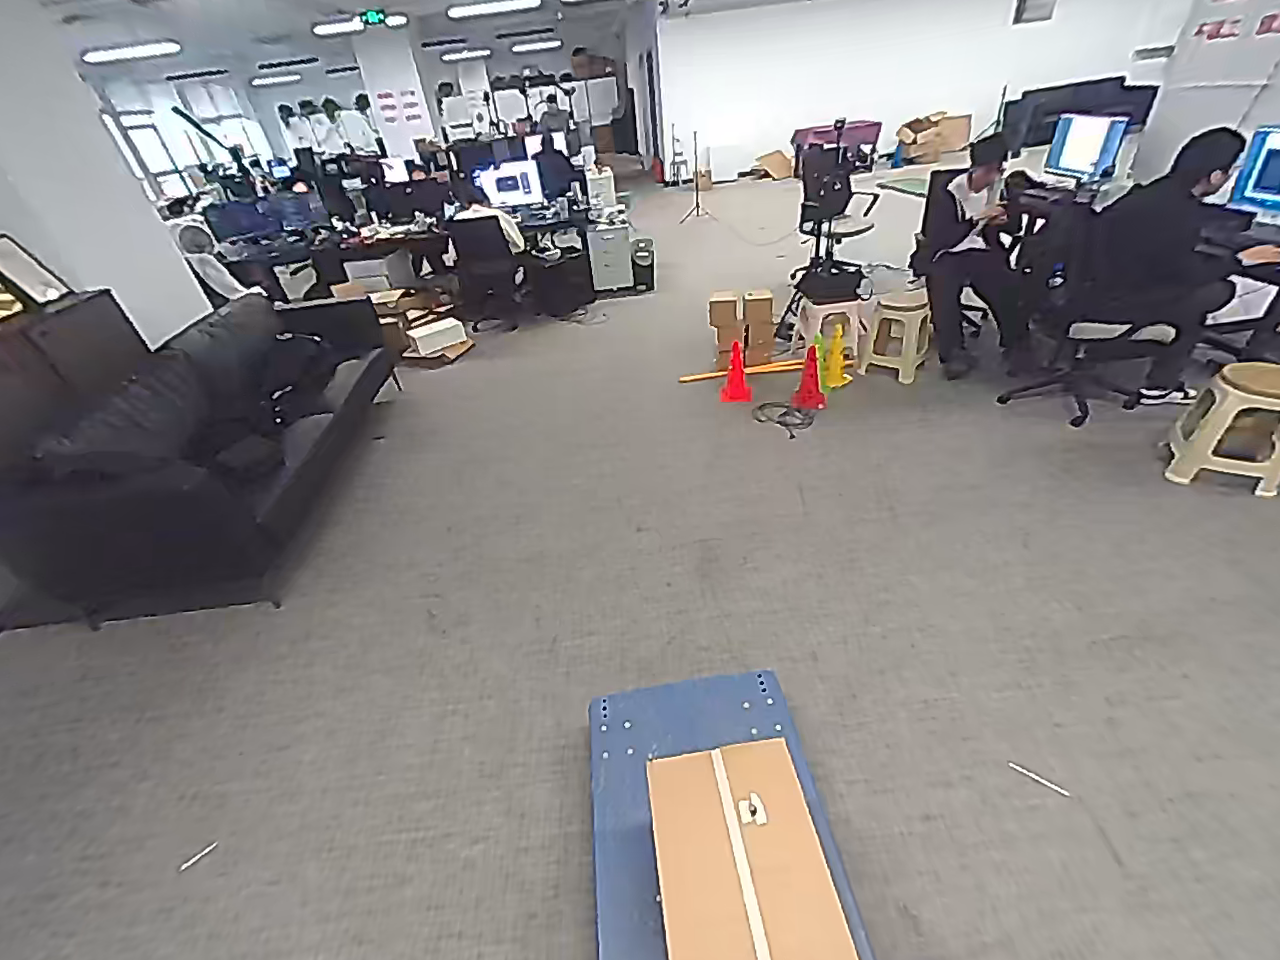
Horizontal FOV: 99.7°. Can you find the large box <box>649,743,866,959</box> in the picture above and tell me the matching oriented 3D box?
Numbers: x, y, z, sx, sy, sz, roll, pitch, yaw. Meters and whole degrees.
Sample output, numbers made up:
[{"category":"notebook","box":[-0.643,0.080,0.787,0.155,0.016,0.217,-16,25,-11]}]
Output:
[{"category":"large box","box":[0.212,0.830,1.097,0.320,0.320,0.408,-9,35,-2]}]
